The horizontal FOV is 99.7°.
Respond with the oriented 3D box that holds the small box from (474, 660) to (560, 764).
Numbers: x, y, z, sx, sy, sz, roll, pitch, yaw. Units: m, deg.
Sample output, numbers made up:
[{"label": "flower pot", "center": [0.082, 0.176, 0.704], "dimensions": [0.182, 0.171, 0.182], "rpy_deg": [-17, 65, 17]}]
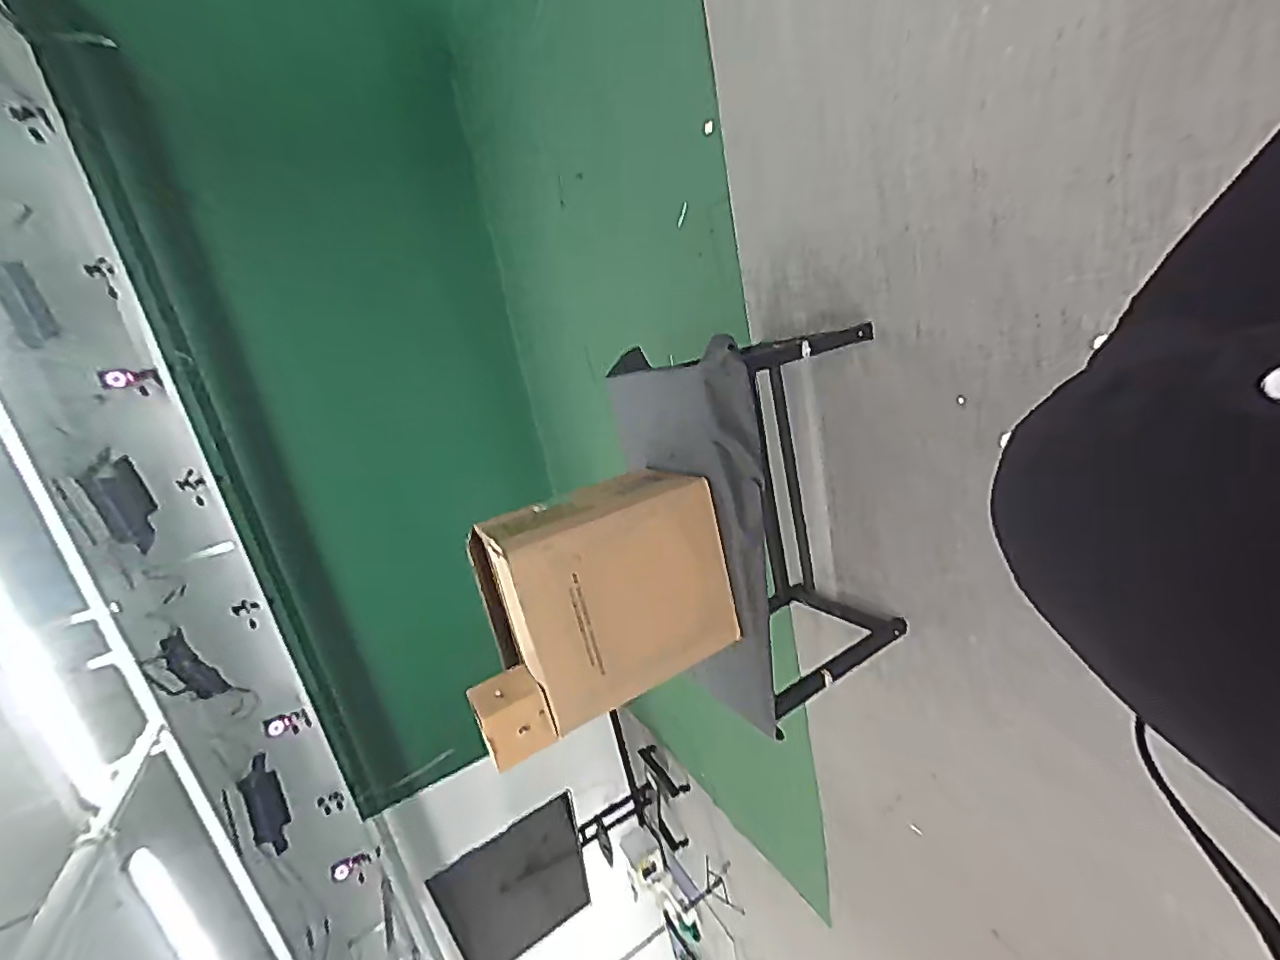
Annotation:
[{"label": "small box", "center": [-0.332, 0.623, 1.480], "dimensions": [0.179, 0.176, 0.168], "rpy_deg": [11, 118, 61]}]
